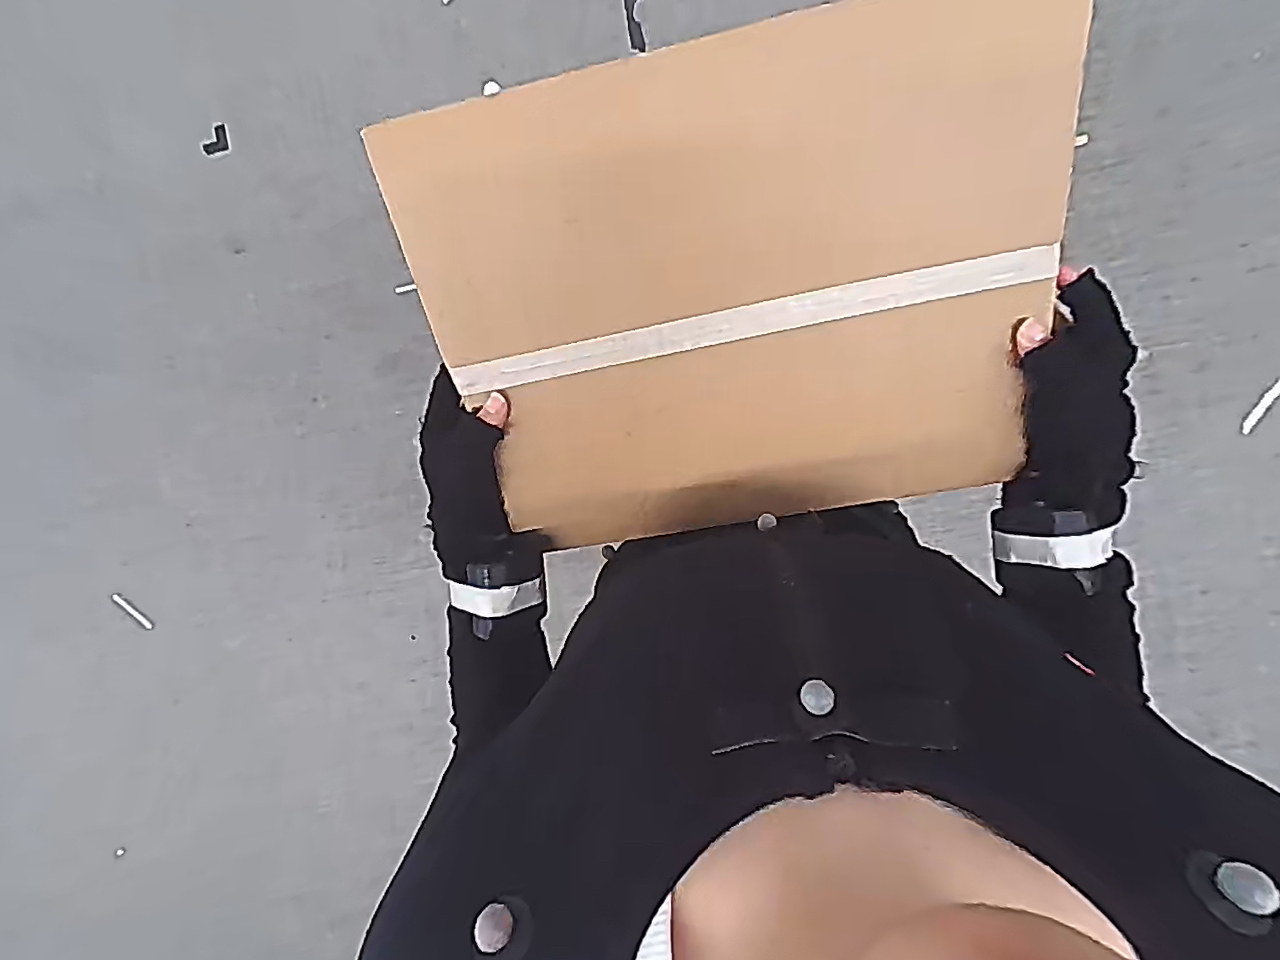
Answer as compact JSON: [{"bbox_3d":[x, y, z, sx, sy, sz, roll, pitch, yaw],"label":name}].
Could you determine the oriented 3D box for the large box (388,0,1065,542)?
[{"bbox_3d":[0.068,-0.179,0.508,0.408,0.320,0.320,-9,118,7],"label":"large box"}]
